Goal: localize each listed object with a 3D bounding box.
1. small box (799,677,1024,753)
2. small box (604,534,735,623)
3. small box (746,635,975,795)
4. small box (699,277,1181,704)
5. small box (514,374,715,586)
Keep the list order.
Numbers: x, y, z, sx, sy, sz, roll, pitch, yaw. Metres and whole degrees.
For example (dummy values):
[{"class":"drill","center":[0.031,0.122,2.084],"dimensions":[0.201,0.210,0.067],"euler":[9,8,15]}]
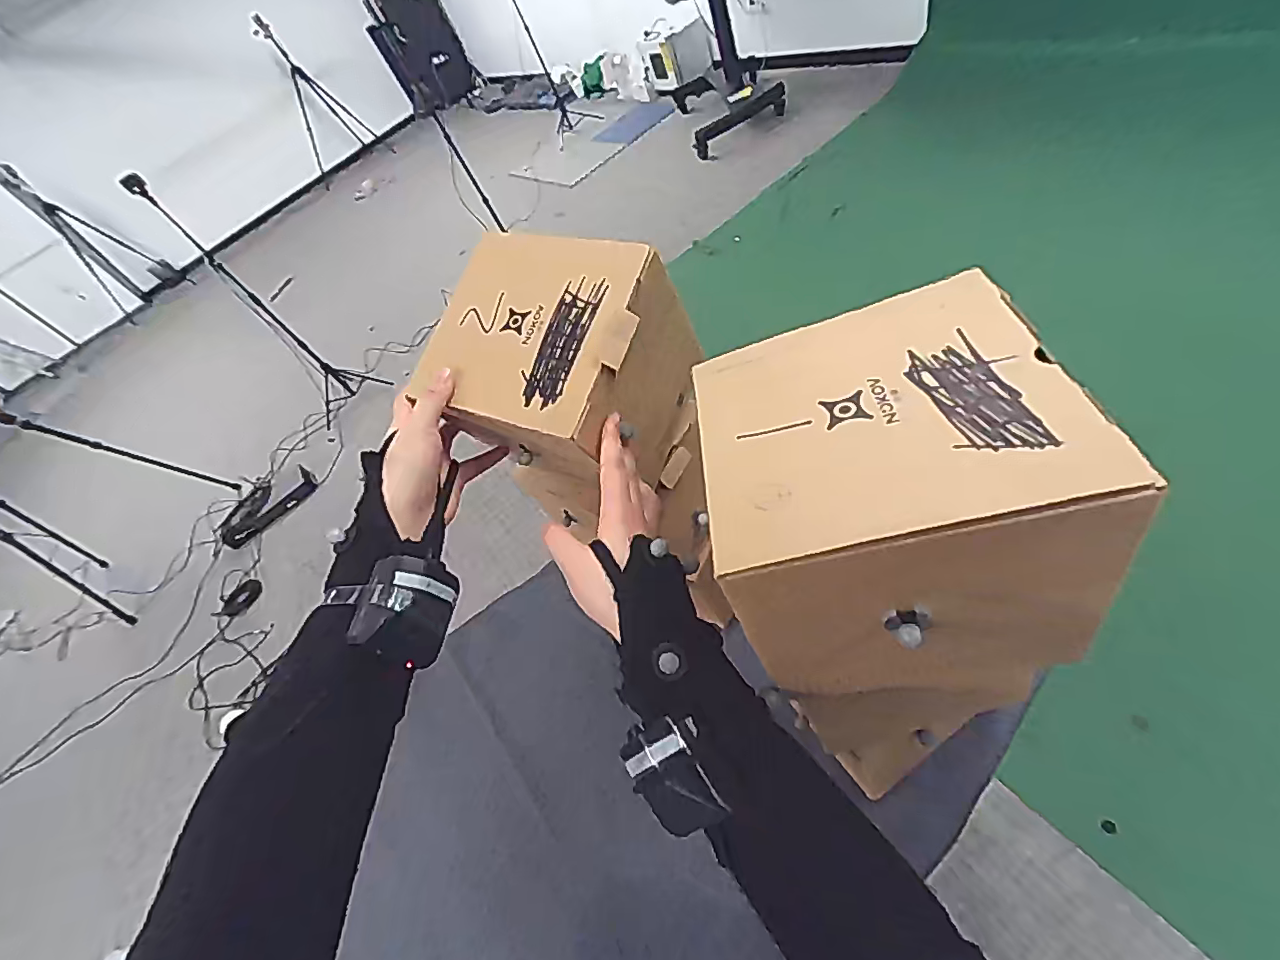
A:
[{"class":"small box","center":[0.198,0.107,0.457],"dimensions":[0.179,0.176,0.168],"euler":[-22,44,9]},{"class":"small box","center":[0.063,0.083,0.773],"dimensions":[0.179,0.176,0.168],"euler":[15,64,32]},{"class":"small box","center":[0.248,0.201,0.582],"dimensions":[0.179,0.176,0.168],"euler":[-38,44,-5]},{"class":"small box","center":[0.147,0.018,0.326],"dimensions":[0.179,0.176,0.168],"euler":[-15,46,17]},{"class":"small box","center":[-0.008,0.002,0.648],"dimensions":[0.179,0.176,0.168],"euler":[22,69,36]}]
